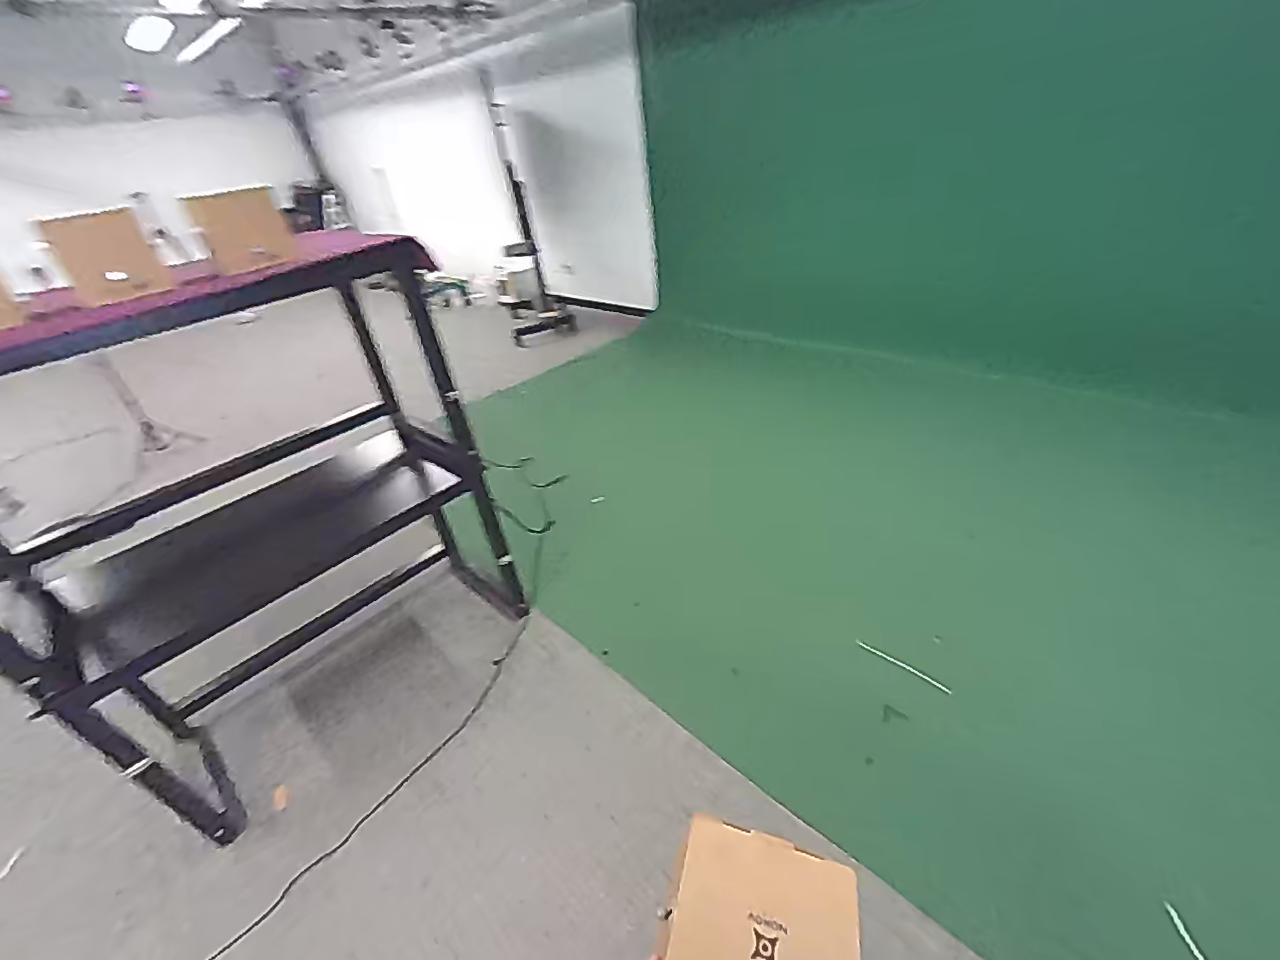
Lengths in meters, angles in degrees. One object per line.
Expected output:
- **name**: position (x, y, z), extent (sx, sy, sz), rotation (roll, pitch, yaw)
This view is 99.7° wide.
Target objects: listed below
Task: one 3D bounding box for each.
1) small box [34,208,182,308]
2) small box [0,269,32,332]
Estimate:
- **small box**: position (-1.136, -0.478, 1.162), extent (0.179, 0.176, 0.168), rotation (24, 44, 39)
- **small box**: position (-1.308, -0.361, 1.017), extent (0.179, 0.176, 0.168), rotation (21, 43, 39)
